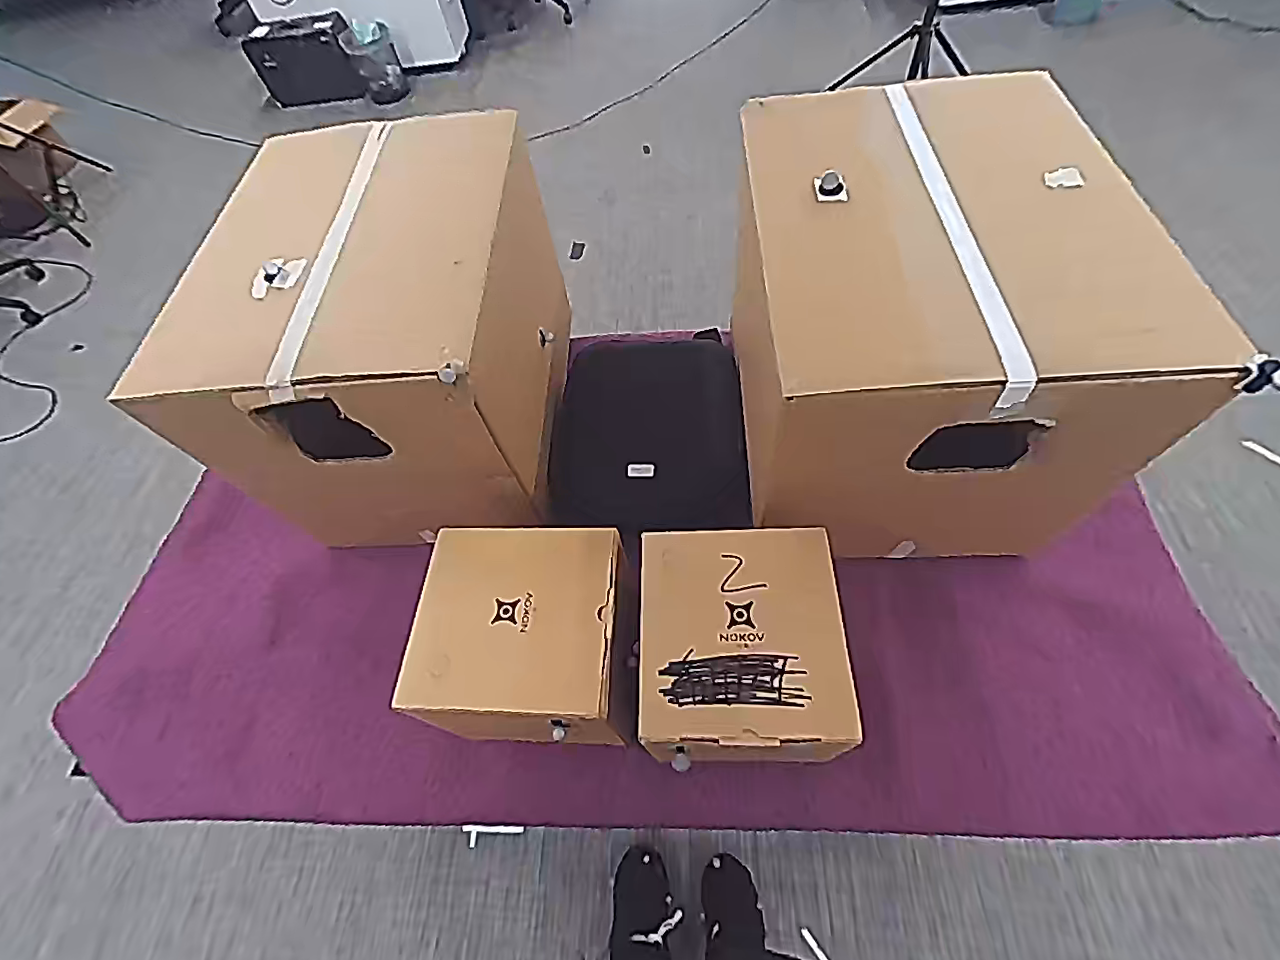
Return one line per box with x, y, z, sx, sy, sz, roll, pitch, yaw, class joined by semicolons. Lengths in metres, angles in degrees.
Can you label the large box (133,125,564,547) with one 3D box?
-0.278;-0.163;0.676;0.320;0.320;0.408;-4;61;5;large box
